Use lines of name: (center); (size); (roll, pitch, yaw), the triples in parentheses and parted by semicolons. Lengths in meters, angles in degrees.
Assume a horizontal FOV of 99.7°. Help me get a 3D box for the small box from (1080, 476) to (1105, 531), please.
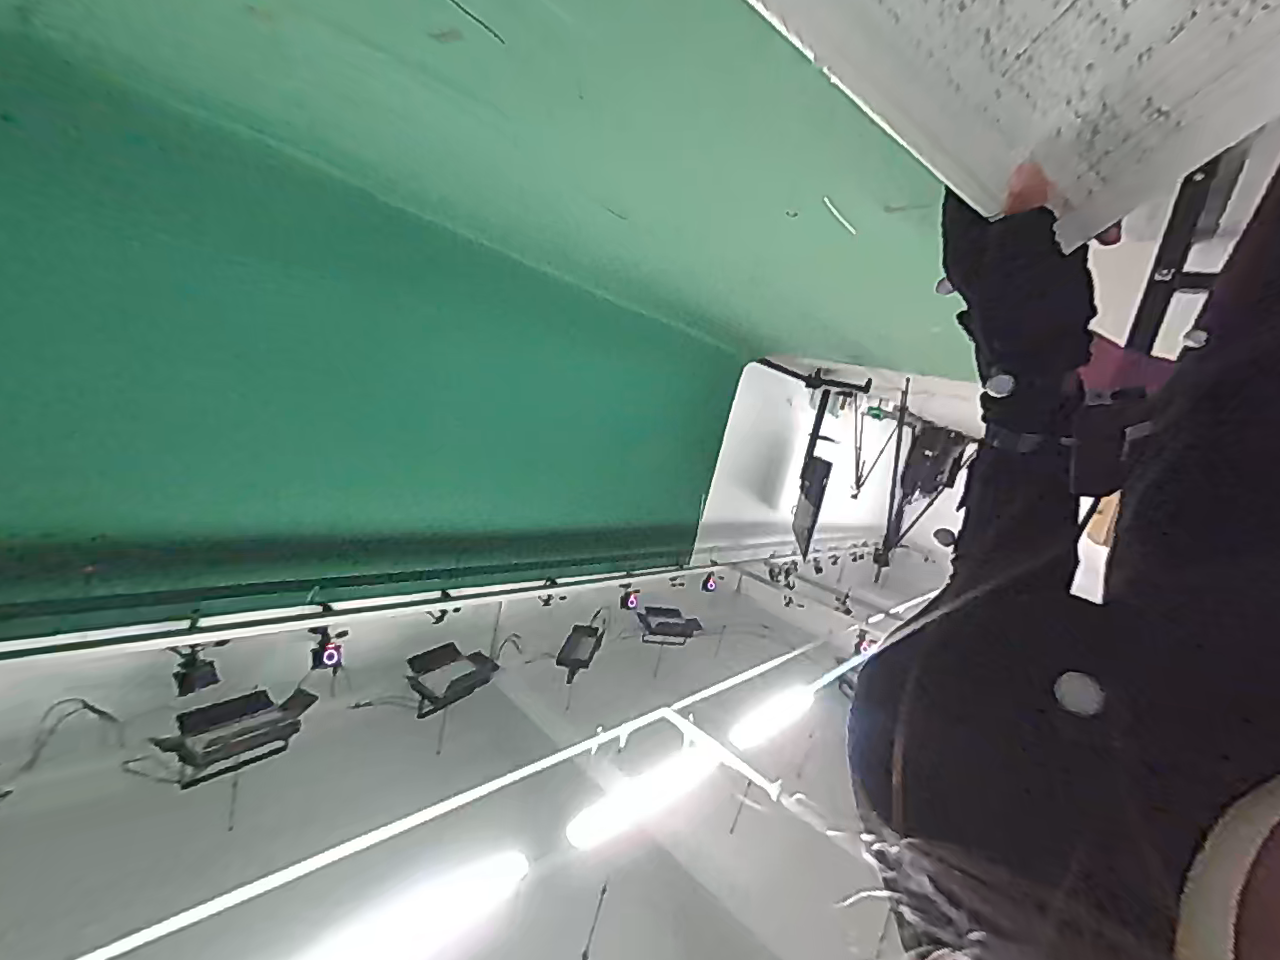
small box: (1.358, 0.085, 1.497); (0.168, 0.176, 0.179); (18, -170, 33)

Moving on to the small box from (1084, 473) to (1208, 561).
small box: (1.225, 0.081, 1.316); (0.168, 0.176, 0.179); (17, -171, 30)
